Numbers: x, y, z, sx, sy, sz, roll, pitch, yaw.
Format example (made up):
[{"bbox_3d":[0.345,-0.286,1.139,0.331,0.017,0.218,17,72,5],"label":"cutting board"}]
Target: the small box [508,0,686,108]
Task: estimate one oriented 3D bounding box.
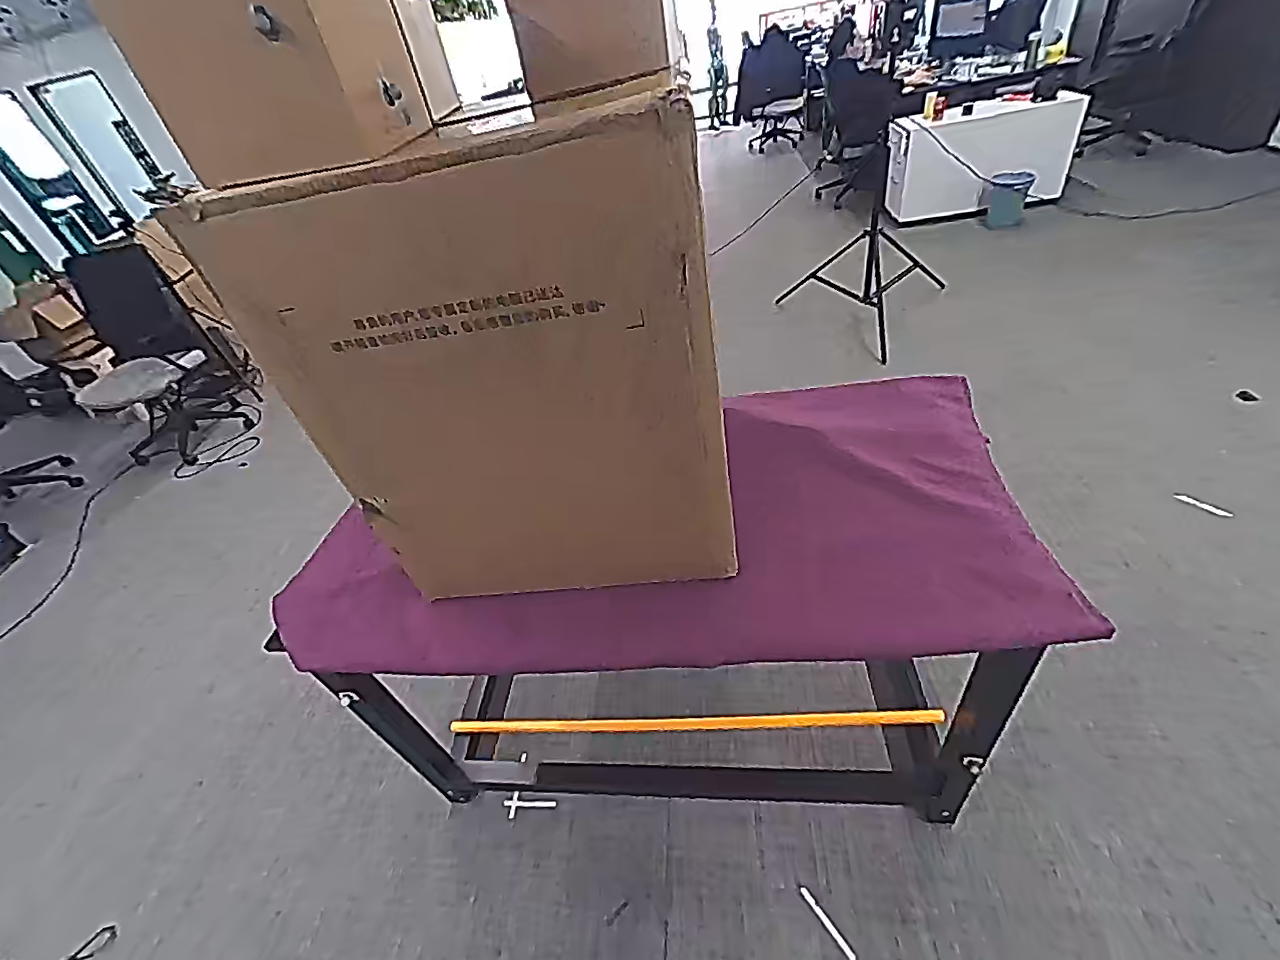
[{"bbox_3d":[-0.045,-0.562,0.634,0.179,0.176,0.168,-3,41,14],"label":"small box"}]
